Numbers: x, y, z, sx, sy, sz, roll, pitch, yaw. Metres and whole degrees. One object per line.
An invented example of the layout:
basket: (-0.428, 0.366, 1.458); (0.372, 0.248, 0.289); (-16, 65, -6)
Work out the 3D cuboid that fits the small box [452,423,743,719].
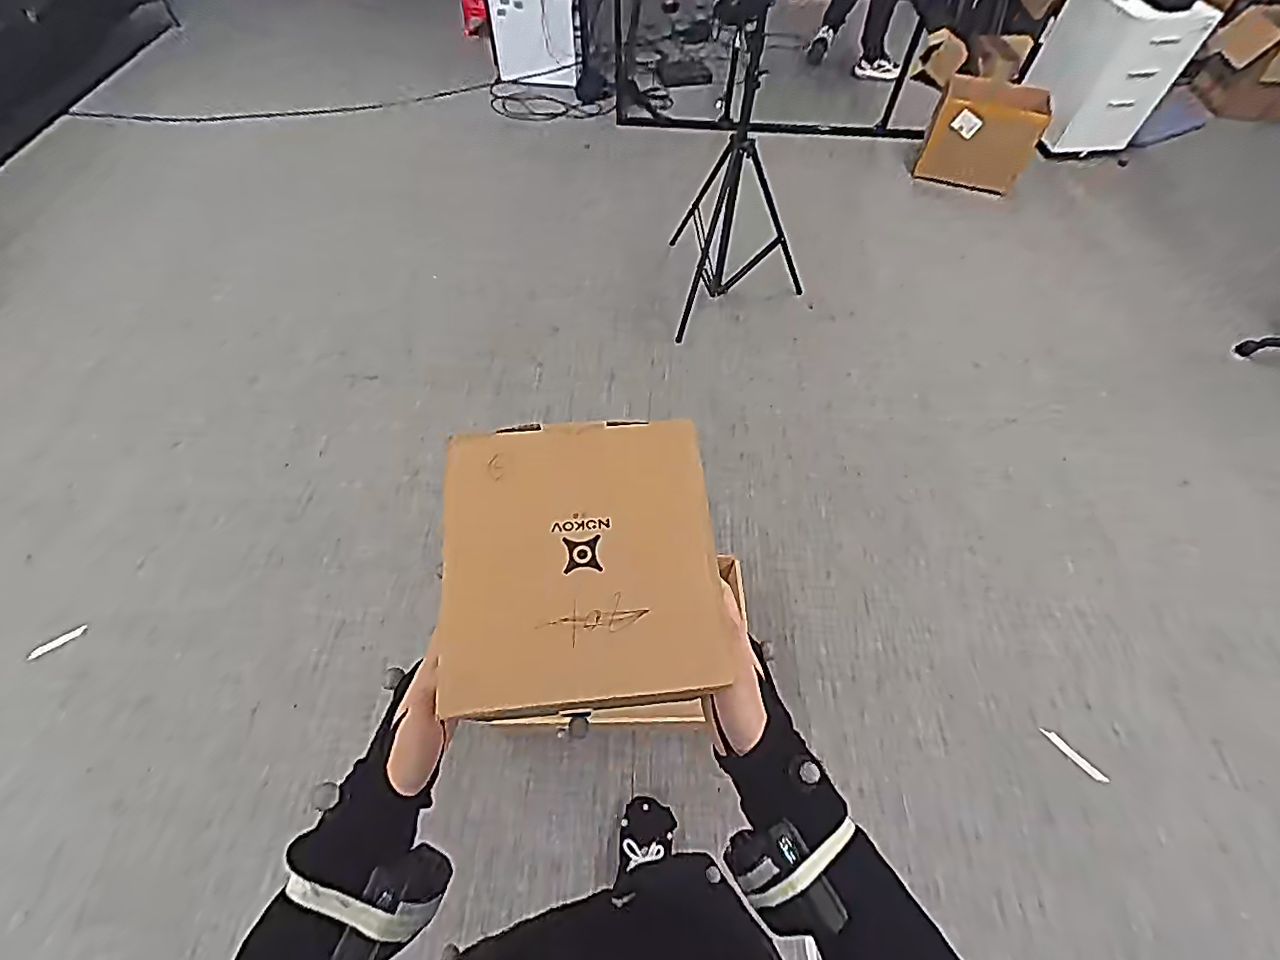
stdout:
small box: (-0.035, 0.076, 0.407); (0.168, 0.176, 0.179); (-5, 66, -6)
